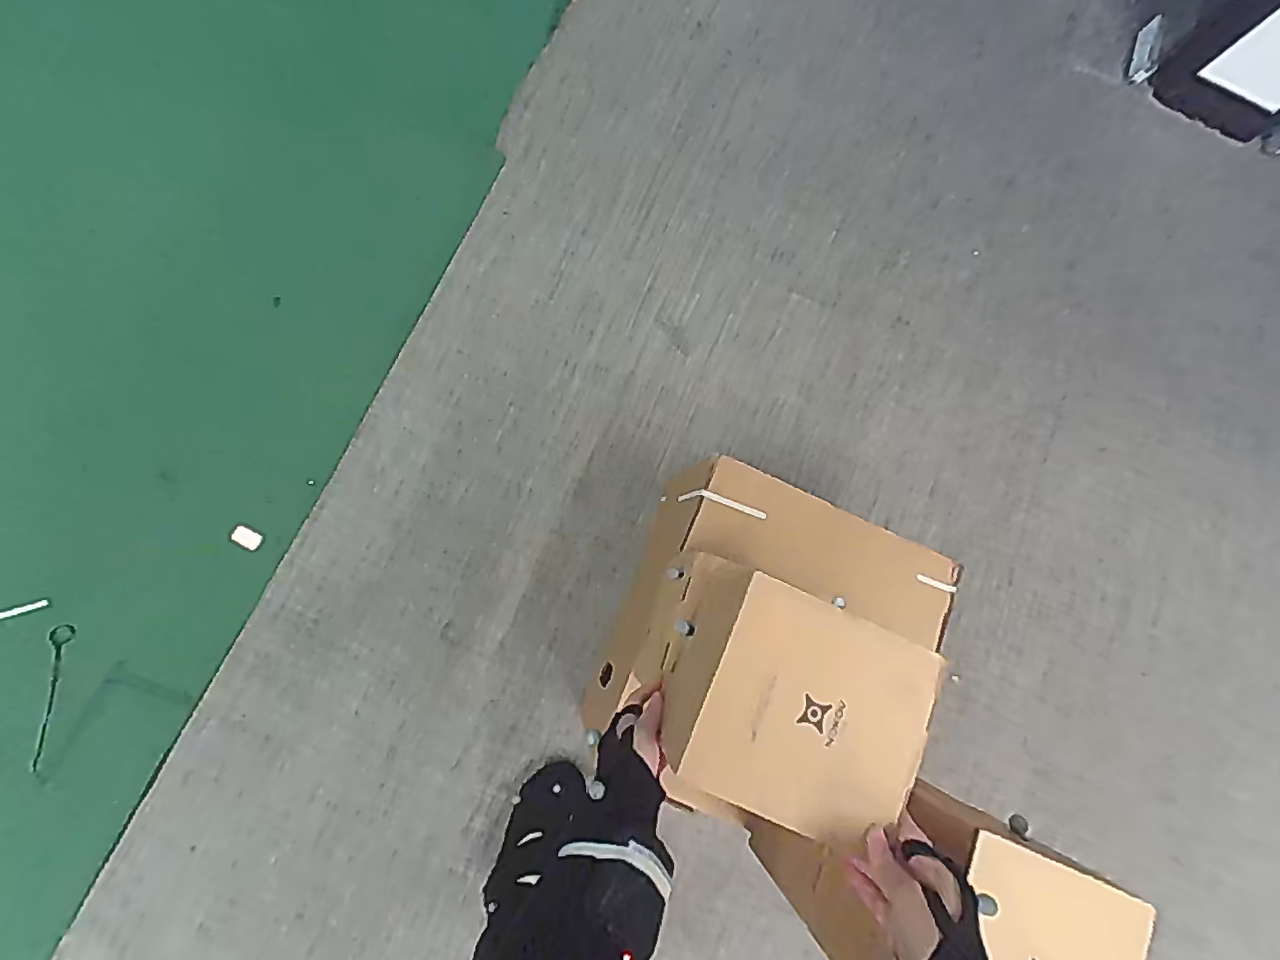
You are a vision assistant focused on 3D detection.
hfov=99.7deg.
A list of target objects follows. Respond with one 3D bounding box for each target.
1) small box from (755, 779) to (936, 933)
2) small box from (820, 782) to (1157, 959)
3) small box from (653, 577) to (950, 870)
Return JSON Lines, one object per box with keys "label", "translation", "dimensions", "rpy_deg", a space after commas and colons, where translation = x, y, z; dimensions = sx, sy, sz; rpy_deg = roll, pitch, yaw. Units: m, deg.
{"label": "small box", "translation": [0.265, 0.423, 0.640], "dimensions": [0.179, 0.176, 0.168], "rpy_deg": [25, 78, -3]}
{"label": "small box", "translation": [0.288, 0.392, 0.480], "dimensions": [0.168, 0.176, 0.179], "rpy_deg": [25, 79, -3]}
{"label": "small box", "translation": [0.128, 0.195, 0.490], "dimensions": [0.179, 0.176, 0.168], "rpy_deg": [25, 78, -1]}
